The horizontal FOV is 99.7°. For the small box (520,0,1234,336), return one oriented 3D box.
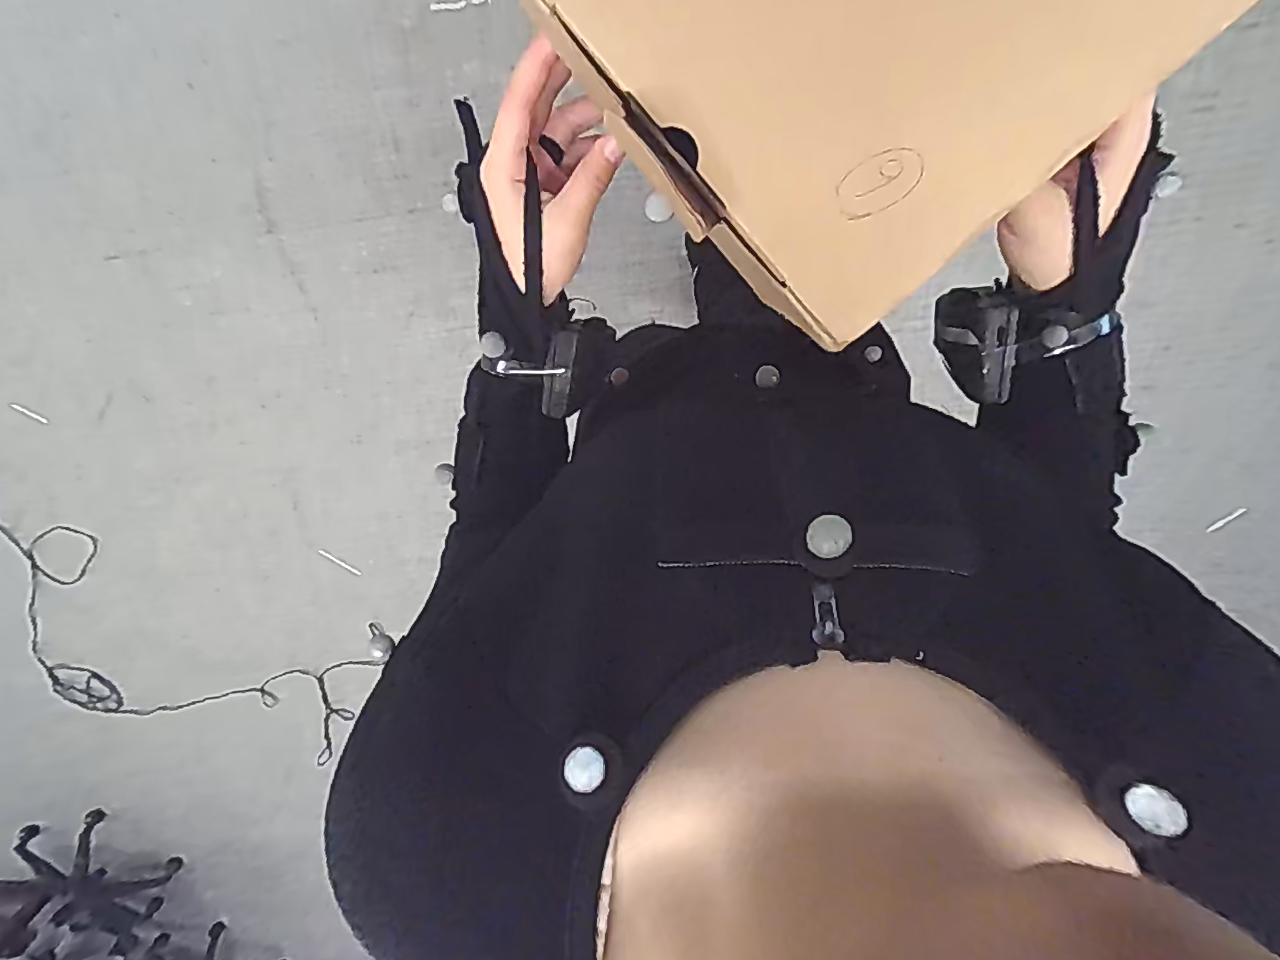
[{"bbox_3d":[0.080,-0.190,0.224,0.168,0.176,0.179,43,111,-14],"label":"small box"}]
